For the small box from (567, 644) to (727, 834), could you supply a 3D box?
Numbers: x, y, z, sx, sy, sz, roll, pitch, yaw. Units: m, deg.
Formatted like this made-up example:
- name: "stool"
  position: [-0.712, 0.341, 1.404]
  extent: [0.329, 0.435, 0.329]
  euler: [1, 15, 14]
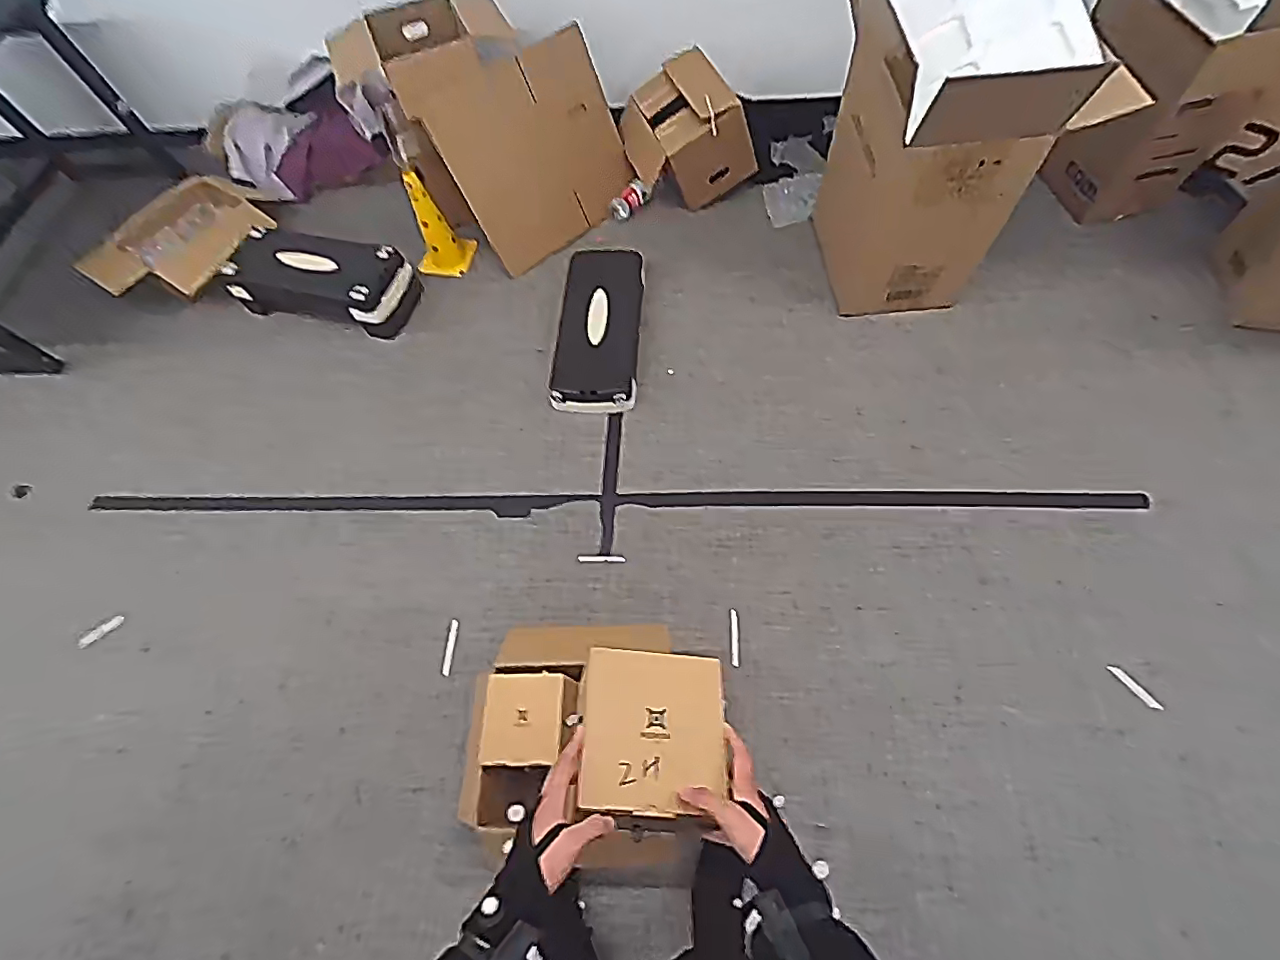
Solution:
- name: "small box"
  position: [0.002, 0.327, 0.677]
  extent: [0.168, 0.176, 0.179]
  euler: [8, 52, -6]
